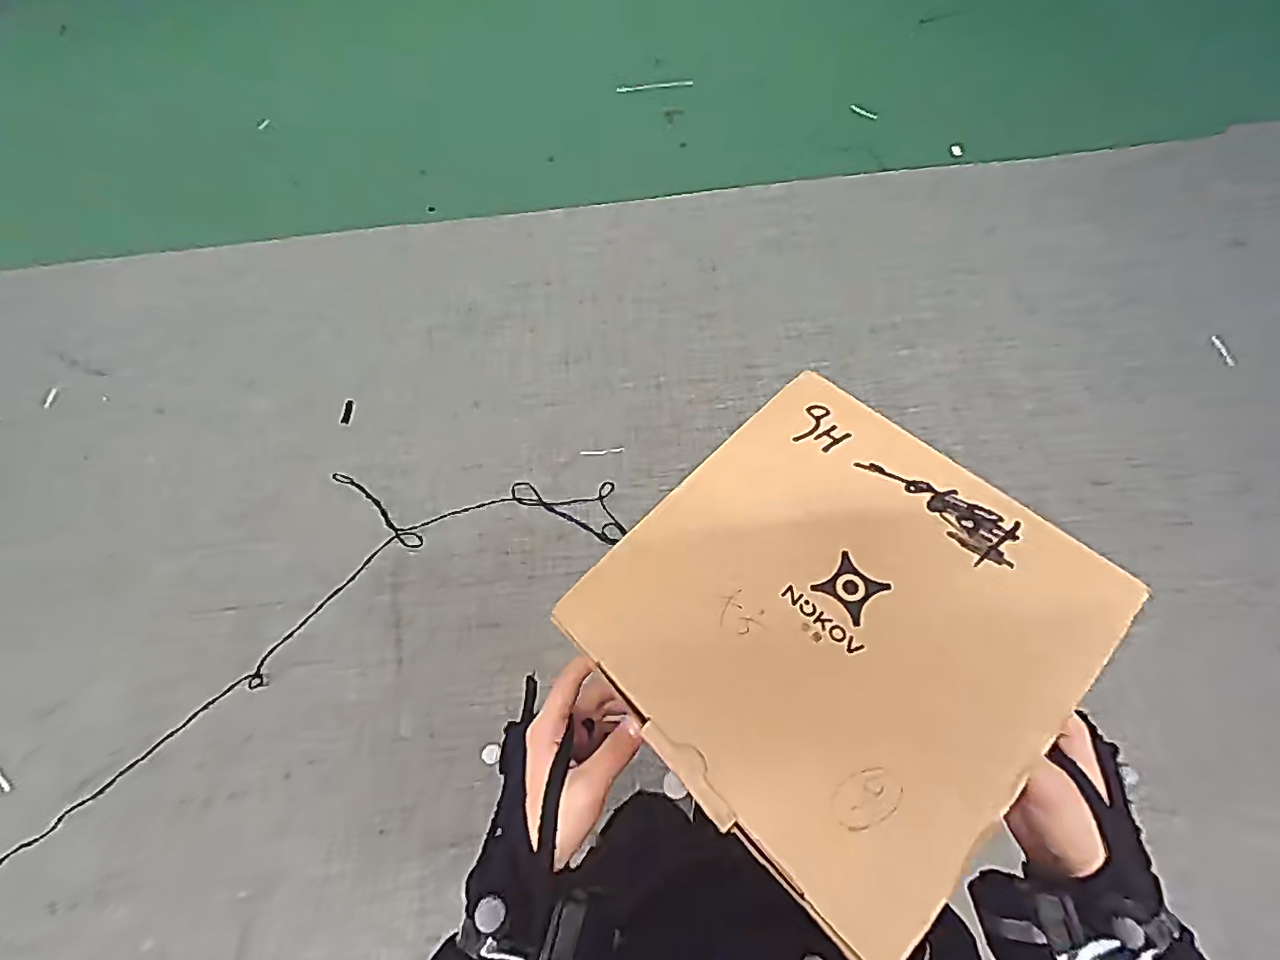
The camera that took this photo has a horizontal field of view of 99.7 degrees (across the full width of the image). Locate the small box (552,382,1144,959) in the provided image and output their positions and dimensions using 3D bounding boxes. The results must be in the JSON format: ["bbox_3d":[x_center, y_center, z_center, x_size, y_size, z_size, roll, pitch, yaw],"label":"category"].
[{"bbox_3d":[0.087,0.091,0.288,0.179,0.176,0.168,-42,65,-14],"label":"small box"}]
